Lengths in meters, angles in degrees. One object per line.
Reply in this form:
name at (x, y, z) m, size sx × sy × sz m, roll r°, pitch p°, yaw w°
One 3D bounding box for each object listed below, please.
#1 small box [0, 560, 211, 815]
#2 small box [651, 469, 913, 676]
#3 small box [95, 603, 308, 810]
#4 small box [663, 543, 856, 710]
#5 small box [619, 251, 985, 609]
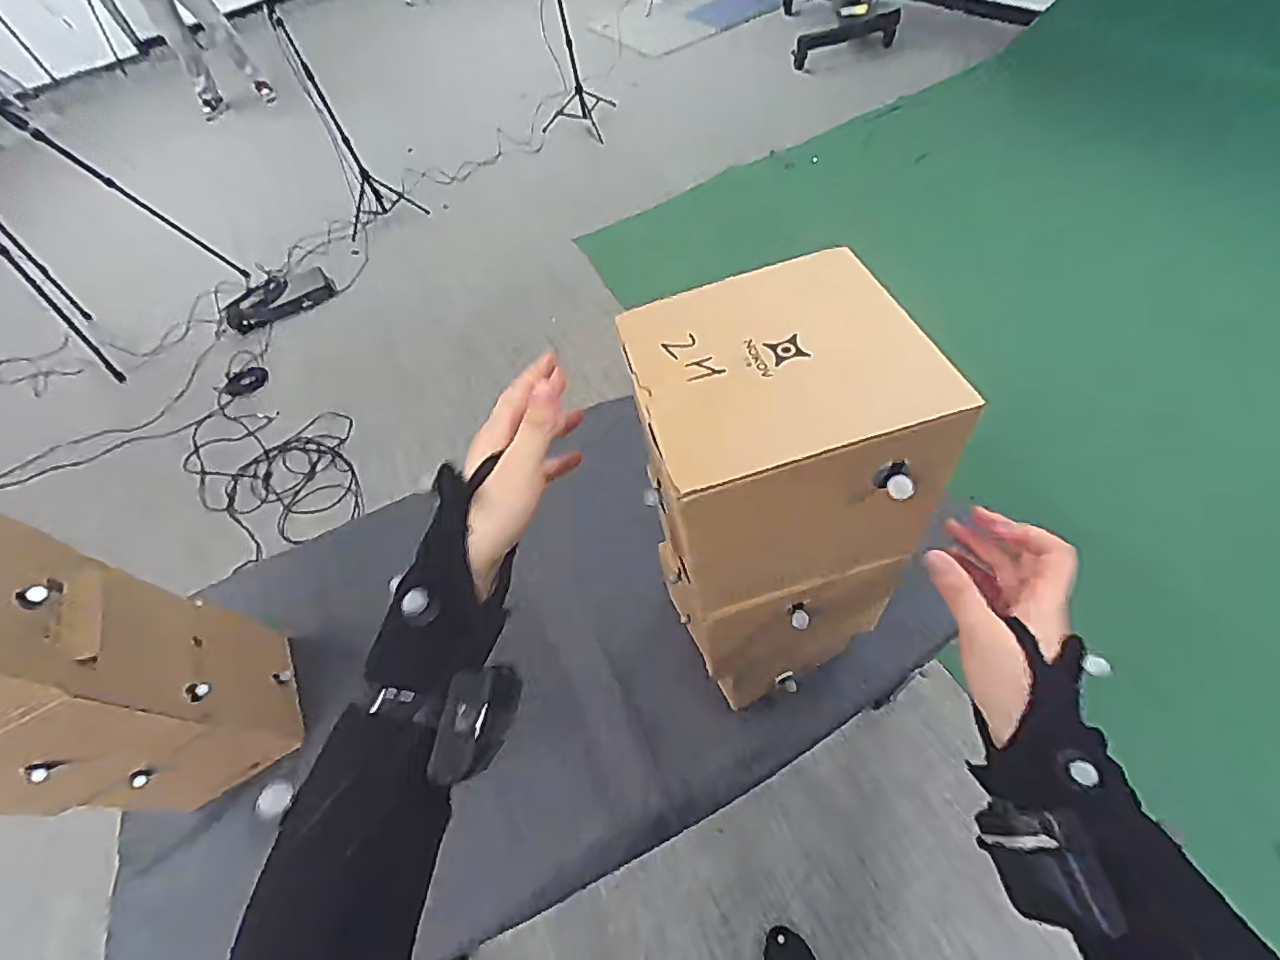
small box at (-0.590, 0.219, 0.563) m, size 0.179 × 0.176 × 0.168 m, roll -30°, pitch 57°, yaw -9°
small box at (0.125, 0.069, 0.527) m, size 0.179 × 0.176 × 0.168 m, roll -19°, pitch 53°, yaw 0°
small box at (-0.573, 0.299, 0.707) m, size 0.168 × 0.176 × 0.179 m, roll -30°, pitch 56°, yaw -10°
small box at (0.146, 0.151, 0.666) m, size 0.168 × 0.176 × 0.179 m, roll -27°, pitch 55°, yaw -7°
small box at (0.097, -0.028, 0.396) m, size 0.179 × 0.176 × 0.168 m, roll -17°, pitch 53°, yaw 1°
